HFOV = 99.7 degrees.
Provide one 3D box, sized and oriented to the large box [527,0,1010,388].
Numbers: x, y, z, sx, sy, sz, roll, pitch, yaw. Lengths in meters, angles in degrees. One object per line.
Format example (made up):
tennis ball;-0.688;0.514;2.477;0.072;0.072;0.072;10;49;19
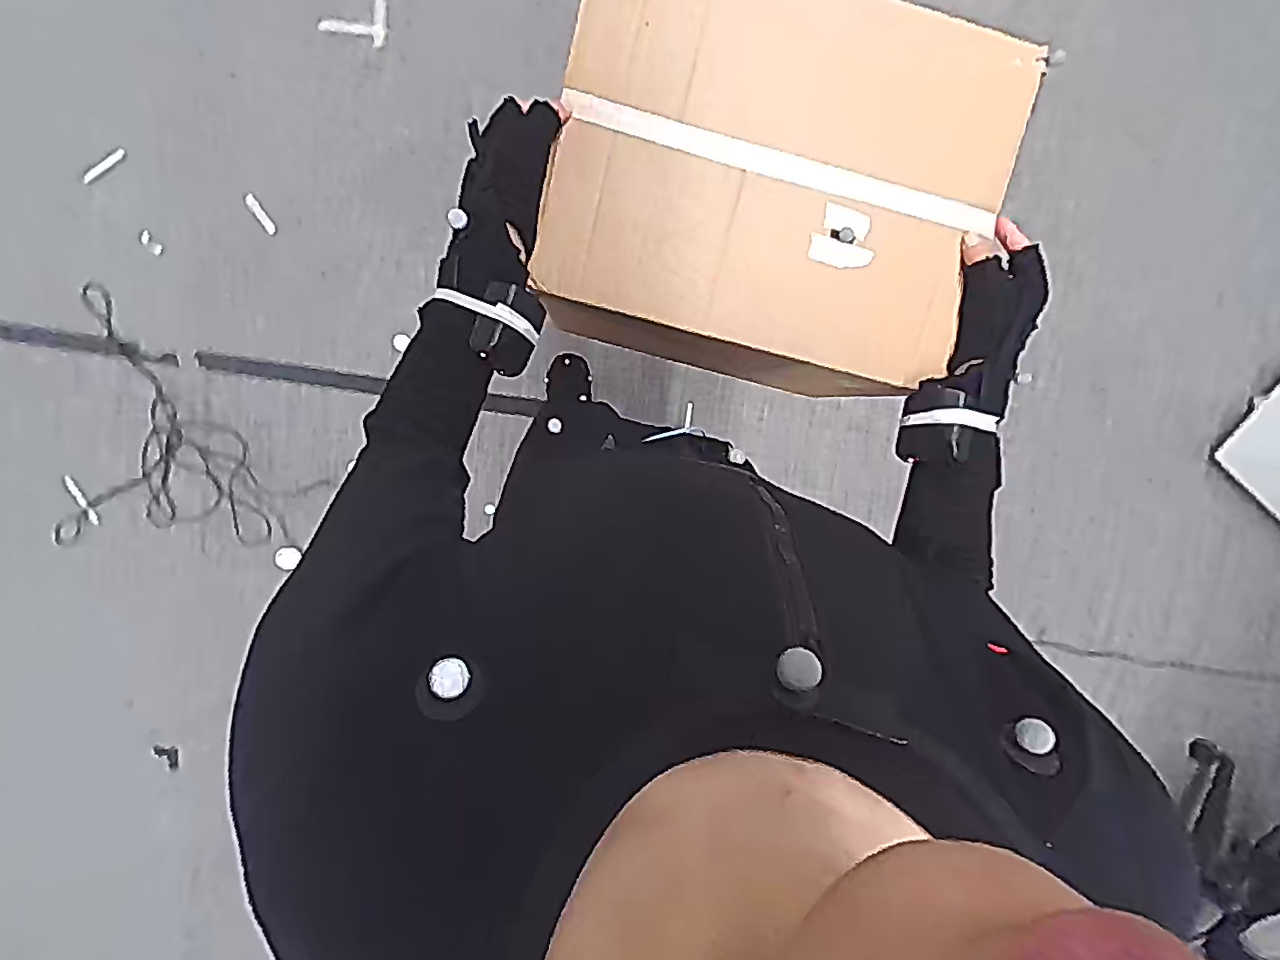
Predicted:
large box;0.106;-0.304;0.644;0.408;0.320;0.320;12;98;-6
